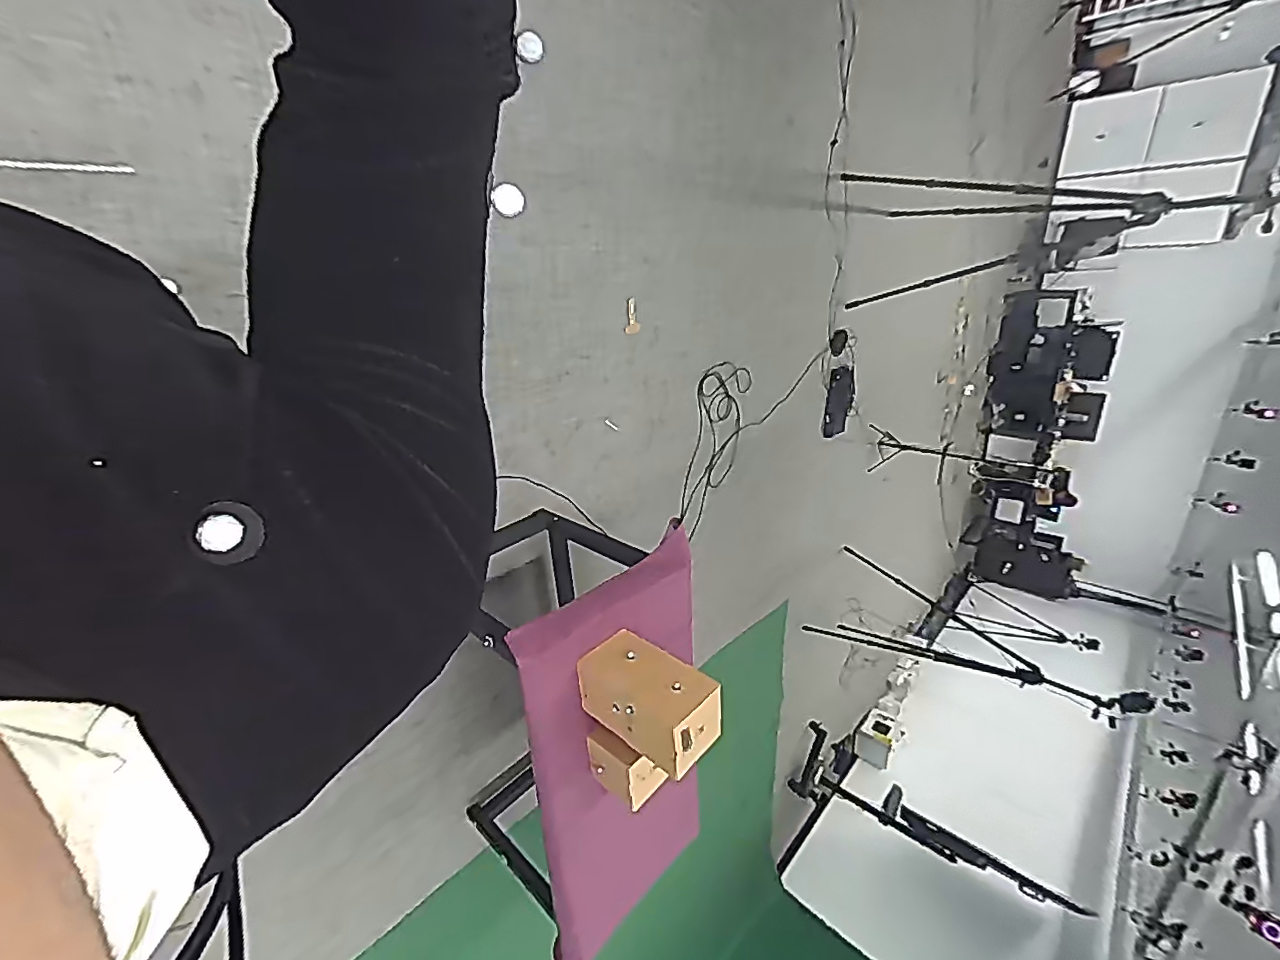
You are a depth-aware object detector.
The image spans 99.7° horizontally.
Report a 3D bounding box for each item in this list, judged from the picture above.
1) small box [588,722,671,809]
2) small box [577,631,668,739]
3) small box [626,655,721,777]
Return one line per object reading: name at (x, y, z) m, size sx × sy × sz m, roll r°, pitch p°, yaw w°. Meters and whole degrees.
small box at (-0.024, 0.760, 1.517) m, size 0.179 × 0.176 × 0.168 m, roll -26°, pitch 120°, yaw -41°
small box at (-0.042, 0.527, 1.422) m, size 0.179 × 0.176 × 0.168 m, roll -26°, pitch 121°, yaw -42°
small box at (0.079, 0.564, 1.315) m, size 0.179 × 0.176 × 0.168 m, roll -26°, pitch 121°, yaw -42°
